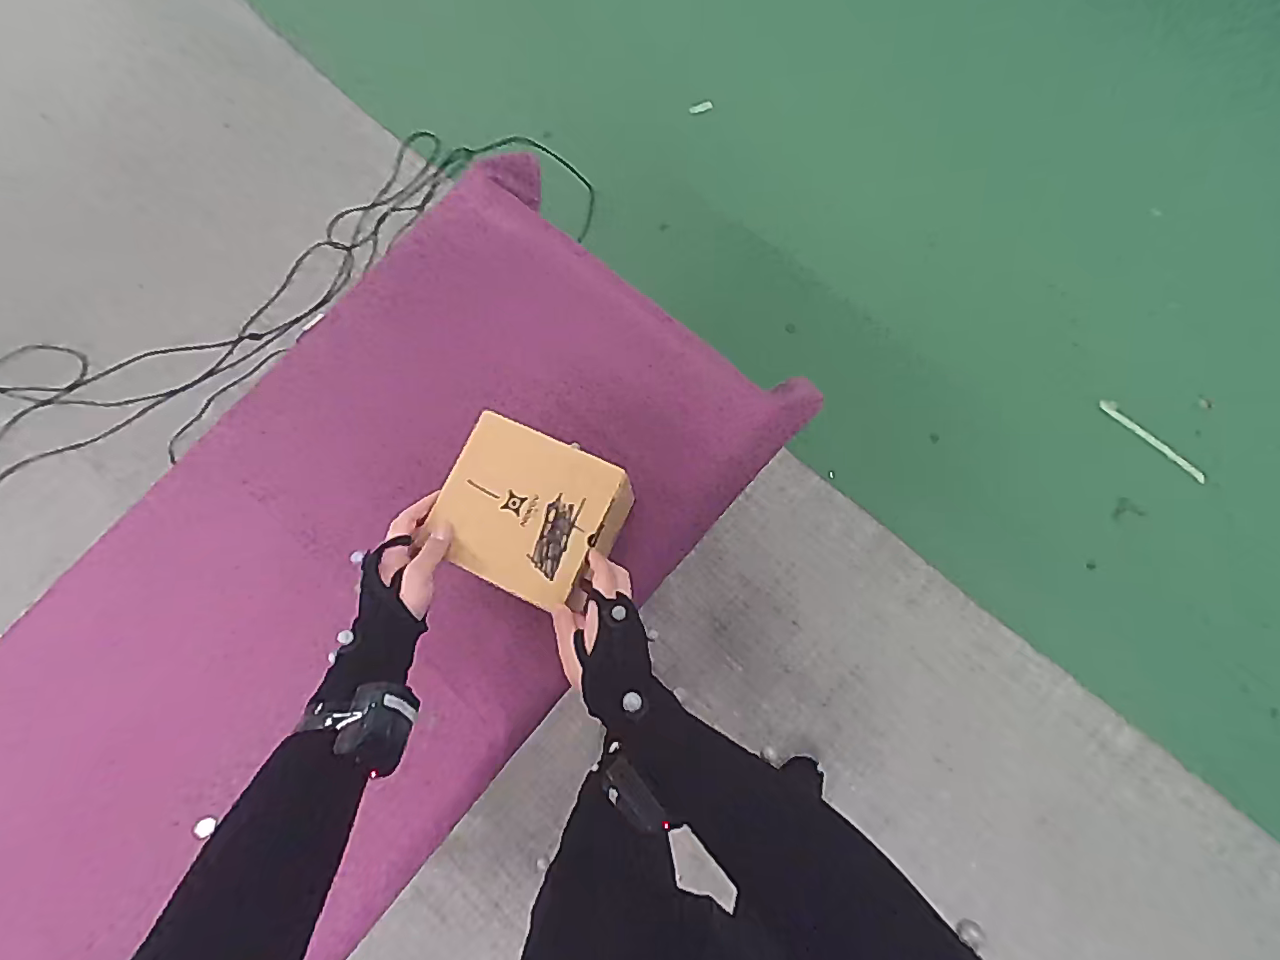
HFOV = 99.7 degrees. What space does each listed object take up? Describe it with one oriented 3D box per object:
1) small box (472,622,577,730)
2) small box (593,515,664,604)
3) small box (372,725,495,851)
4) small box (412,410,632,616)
[{"bbox_3d":[-0.266,0.459,1.300,0.168,0.176,0.179,33,82,9],"label":"small box"},{"bbox_3d":[-0.053,0.191,1.349,0.168,0.176,0.179,41,82,10],"label":"small box"},{"bbox_3d":[-0.467,0.700,1.256,0.179,0.176,0.168,31,81,8],"label":"small box"},{"bbox_3d":[-0.120,0.044,0.638,0.179,0.176,0.168,24,80,9],"label":"small box"}]
